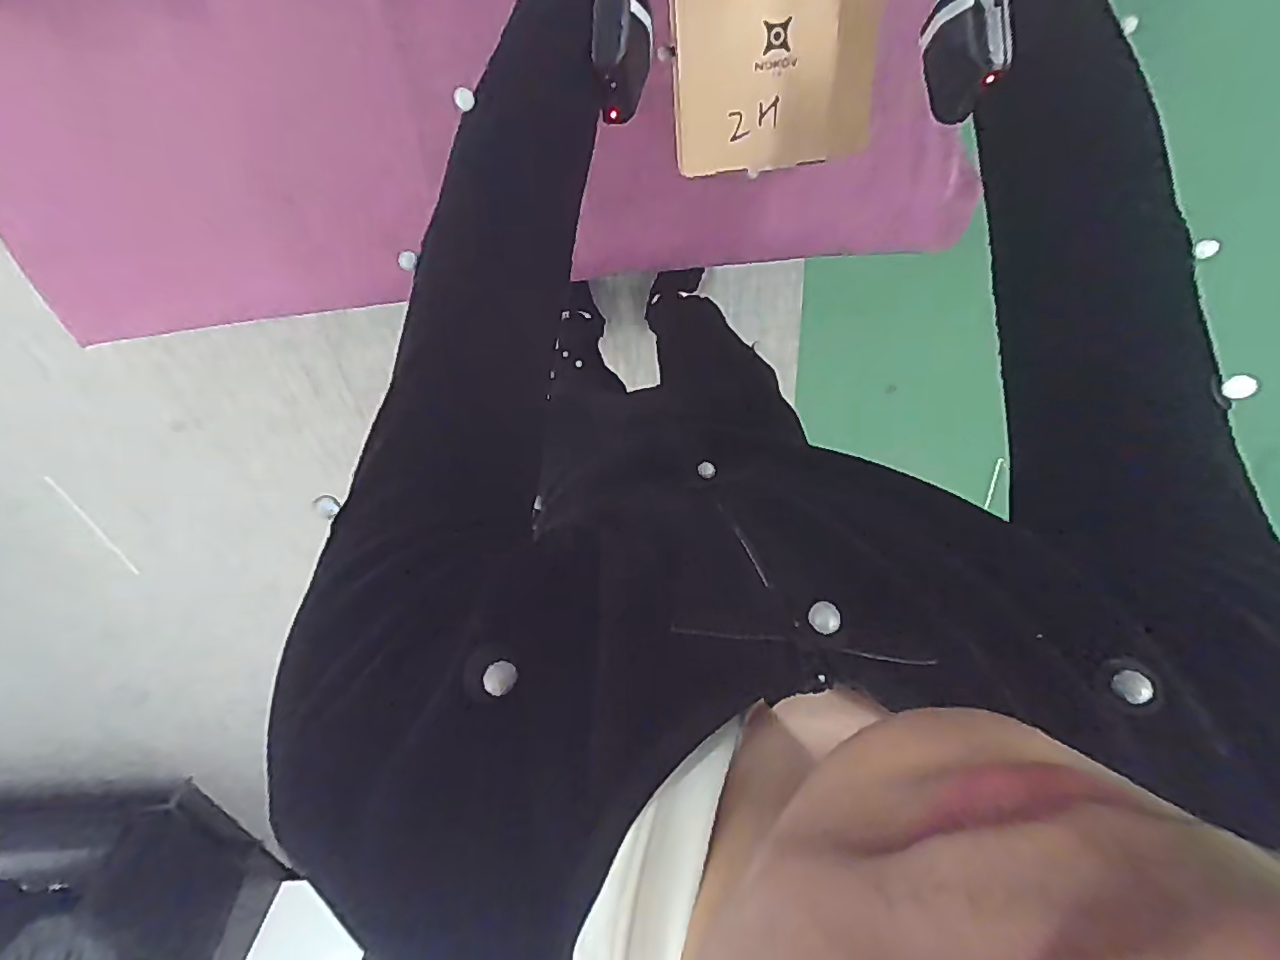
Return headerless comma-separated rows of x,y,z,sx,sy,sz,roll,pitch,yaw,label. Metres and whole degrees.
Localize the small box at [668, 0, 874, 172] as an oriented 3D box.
0.112,-0.405,0.517,0.168,0.176,0.179,-3,123,5,small box
